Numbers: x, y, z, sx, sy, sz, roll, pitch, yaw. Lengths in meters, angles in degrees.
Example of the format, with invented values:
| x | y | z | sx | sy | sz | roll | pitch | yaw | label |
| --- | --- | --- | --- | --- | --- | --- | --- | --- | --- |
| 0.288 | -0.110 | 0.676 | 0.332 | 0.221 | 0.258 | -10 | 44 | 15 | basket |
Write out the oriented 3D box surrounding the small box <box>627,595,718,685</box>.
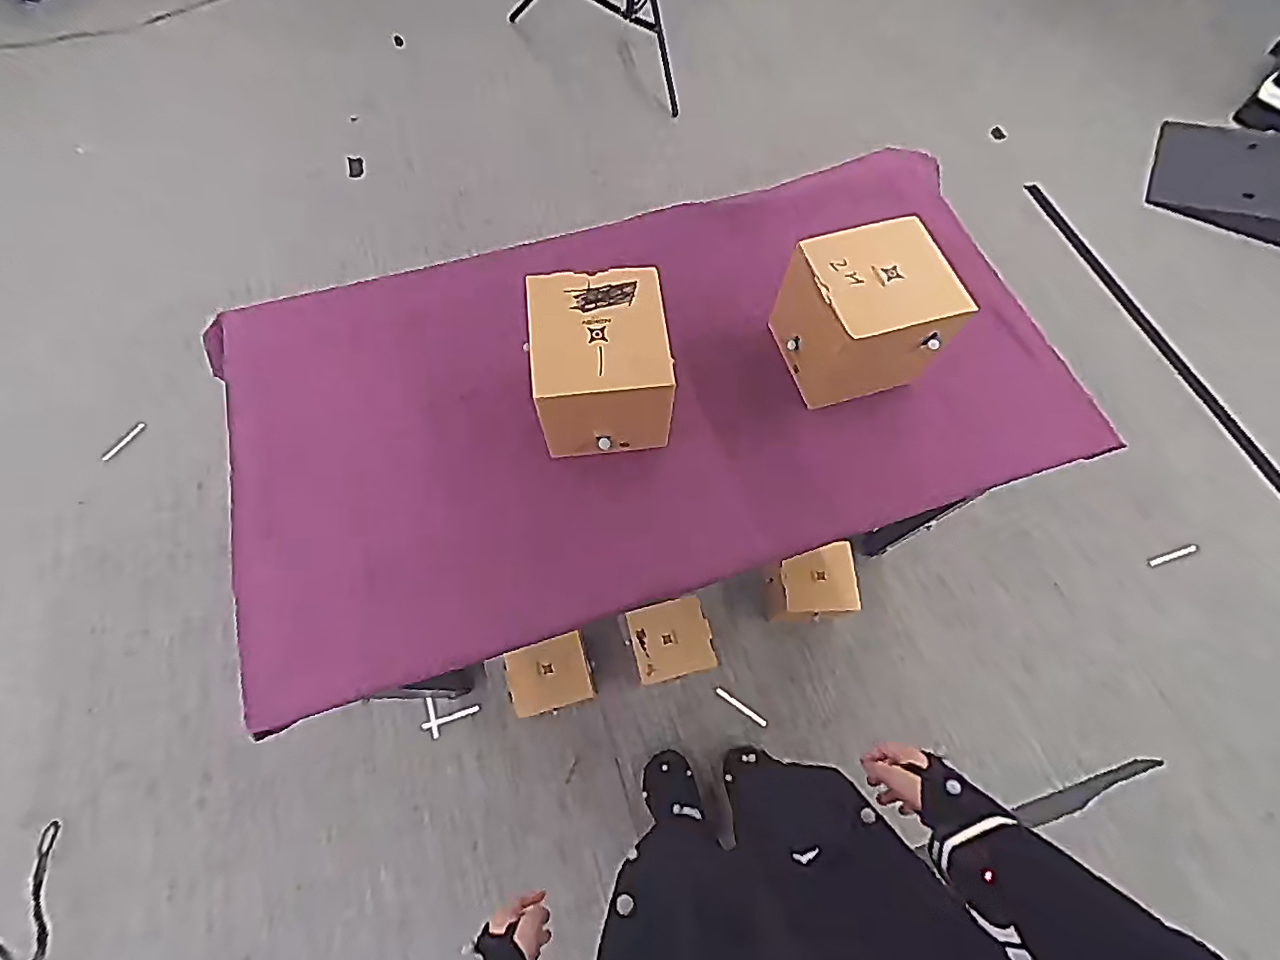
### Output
| x | y | z | sx | sy | sz | roll | pitch | yaw | label |
| --- | --- | --- | --- | --- | --- | --- | --- | --- | --- |
| 0.071 | 0.385 | 1.292 | 0.179 | 0.176 | 0.168 | -12 | 69 | -6 | small box |

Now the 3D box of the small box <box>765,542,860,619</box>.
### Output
| x | y | z | sx | sy | sz | roll | pitch | yaw | label |
| --- | --- | --- | --- | --- | --- | --- | --- | --- | --- |
| 0.422 | 0.254 | 1.350 | 0.179 | 0.176 | 0.168 | -1 | 69 | 0 | small box |

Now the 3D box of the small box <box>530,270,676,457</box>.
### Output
| x | y | z | sx | sy | sz | roll | pitch | yaw | label |
| --- | --- | --- | --- | --- | --- | --- | --- | --- | --- |
| -0.050 | -0.148 | 0.717 | 0.168 | 0.176 | 0.179 | -6 | 69 | -3 | small box |

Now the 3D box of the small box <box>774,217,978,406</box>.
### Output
| x | y | z | sx | sy | sz | roll | pitch | yaw | label |
| --- | --- | --- | --- | --- | --- | --- | --- | --- | --- |
| 0.310 | -0.226 | 0.753 | 0.179 | 0.176 | 0.168 | -15 | 68 | -6 | small box |
